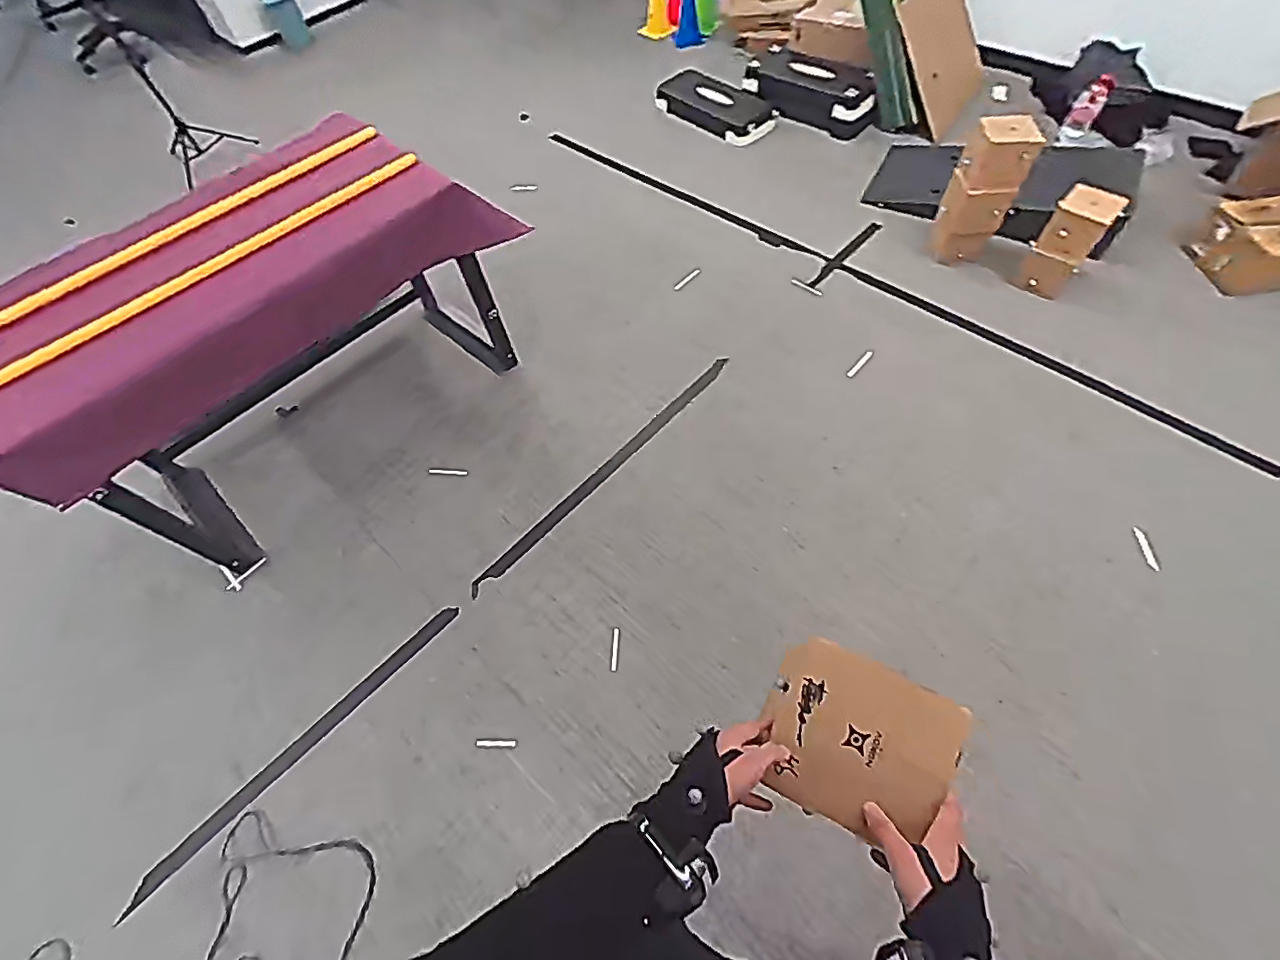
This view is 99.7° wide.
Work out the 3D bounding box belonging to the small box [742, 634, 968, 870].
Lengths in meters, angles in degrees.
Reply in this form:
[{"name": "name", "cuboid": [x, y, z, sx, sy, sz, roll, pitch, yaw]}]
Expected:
[{"name": "small box", "cuboid": [0.233, 0.295, 0.629, 0.179, 0.176, 0.168, 24, 75, 14]}]
